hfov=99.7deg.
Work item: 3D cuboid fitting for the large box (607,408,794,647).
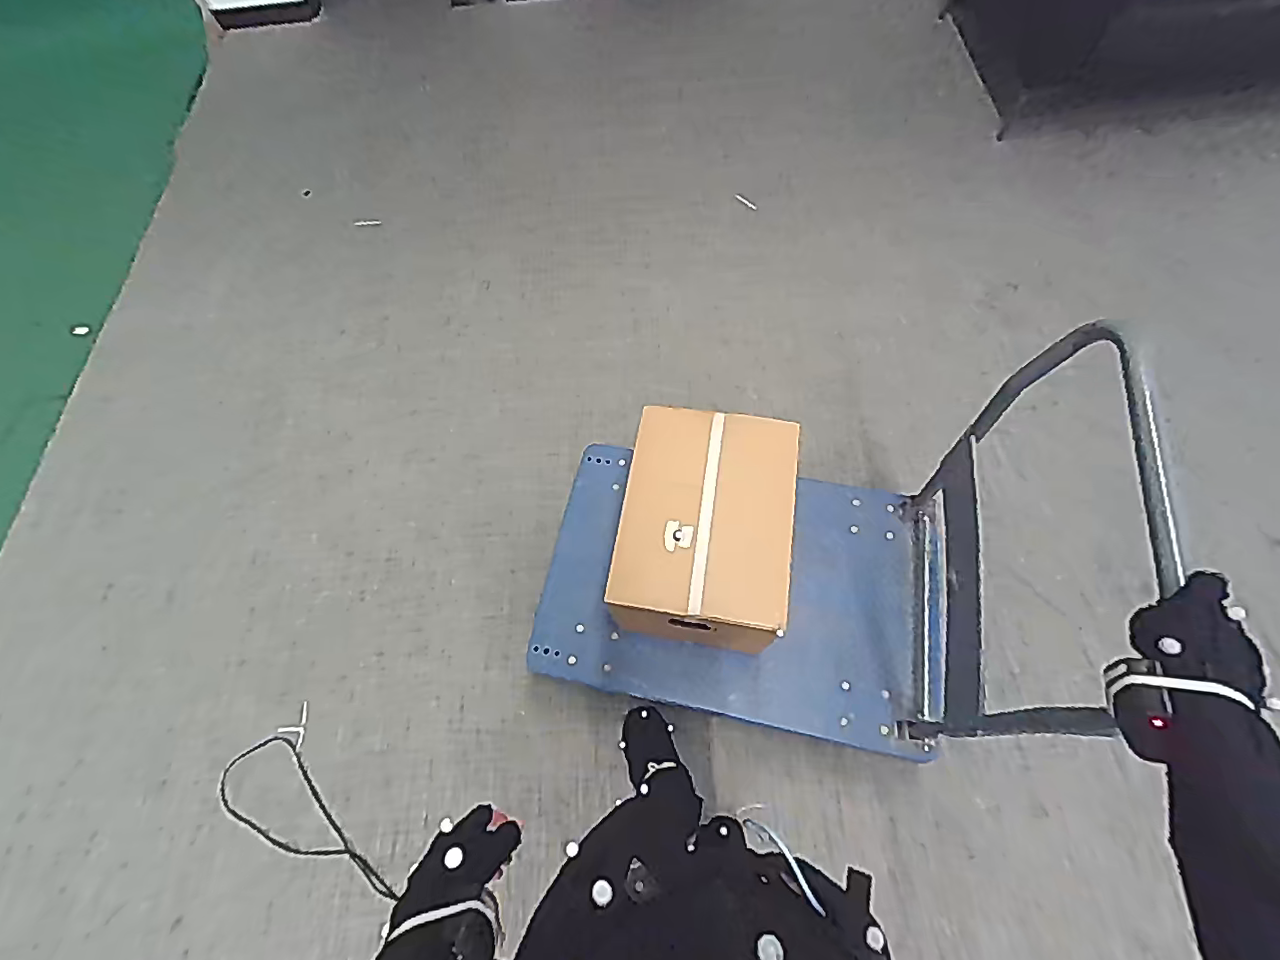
[{"bbox_3d":[0.130,0.108,1.134,0.320,0.320,0.408,7,67,8],"label":"large box"}]
